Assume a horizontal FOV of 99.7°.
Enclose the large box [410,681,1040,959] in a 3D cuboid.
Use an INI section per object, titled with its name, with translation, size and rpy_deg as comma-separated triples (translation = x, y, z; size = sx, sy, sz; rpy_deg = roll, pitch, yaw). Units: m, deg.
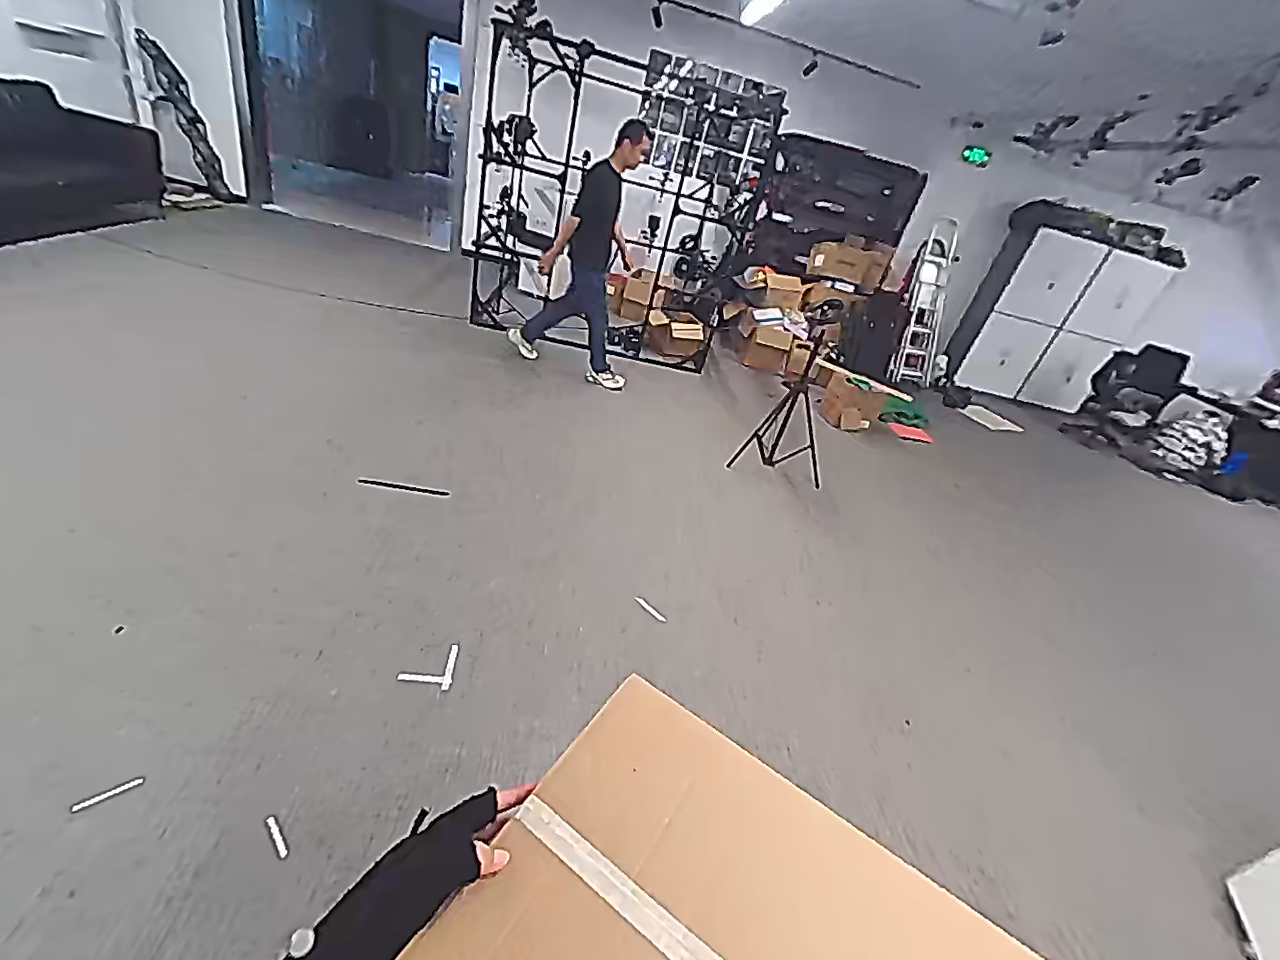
[large box]
translation = 0.049, 0.470, 0.464
size = 0.408, 0.320, 0.320
rpy_deg = 29, 41, 22
